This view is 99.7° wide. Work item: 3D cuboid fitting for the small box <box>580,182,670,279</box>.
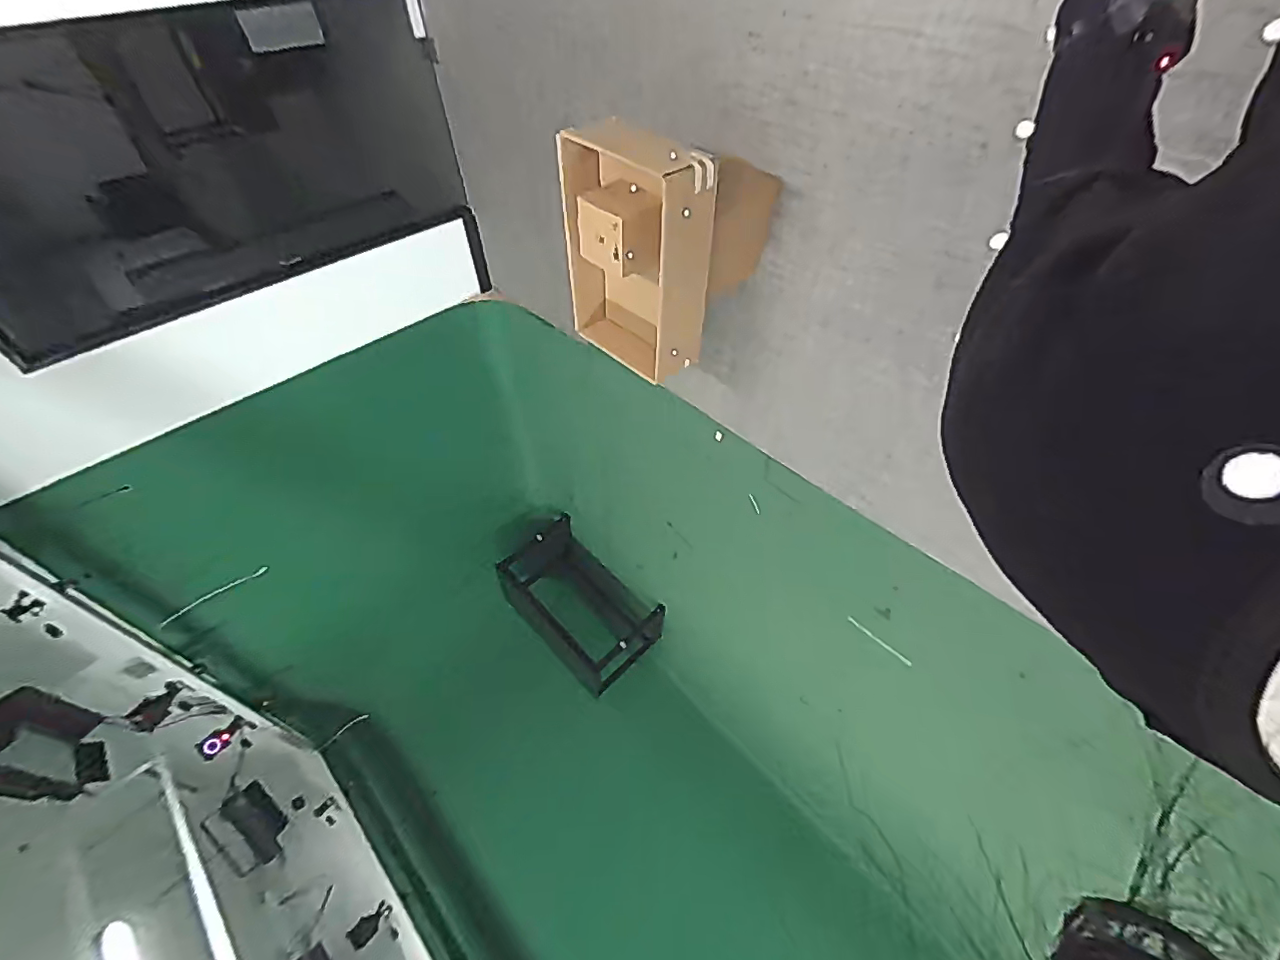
[{"bbox_3d":[-0.042,-0.684,1.469,0.179,0.176,0.168,40,152,26],"label":"small box"}]
